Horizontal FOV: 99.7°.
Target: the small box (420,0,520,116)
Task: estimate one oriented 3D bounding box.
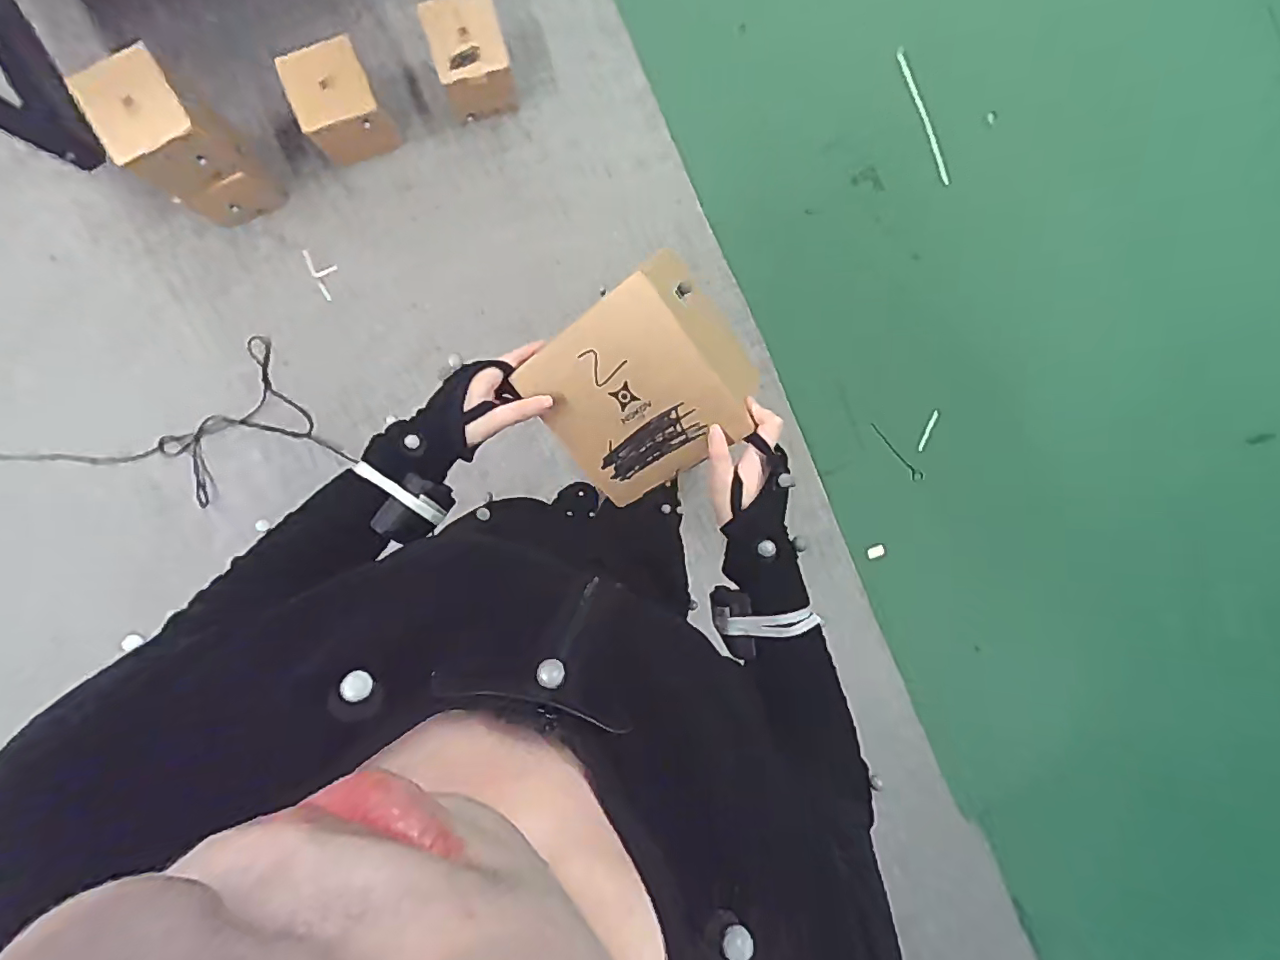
[{"bbox_3d":[-0.397,-1.012,1.298,0.168,0.176,0.179,-16,96,-3],"label":"small box"}]

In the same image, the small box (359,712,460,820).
[{"bbox_3d":[-0.607,0.750,1.446,0.168,0.176,0.179,-22,96,-1],"label":"small box"}]
